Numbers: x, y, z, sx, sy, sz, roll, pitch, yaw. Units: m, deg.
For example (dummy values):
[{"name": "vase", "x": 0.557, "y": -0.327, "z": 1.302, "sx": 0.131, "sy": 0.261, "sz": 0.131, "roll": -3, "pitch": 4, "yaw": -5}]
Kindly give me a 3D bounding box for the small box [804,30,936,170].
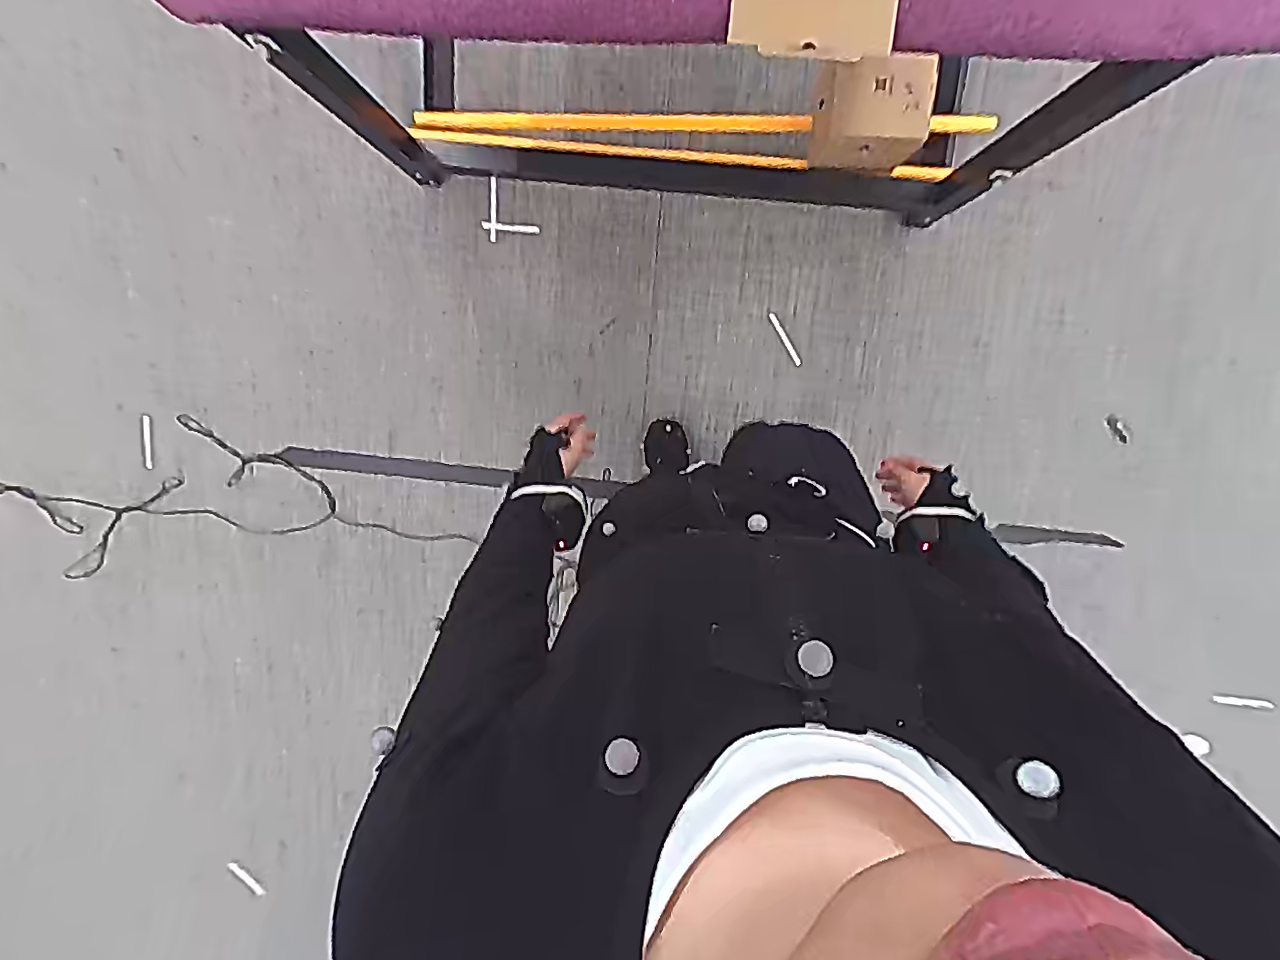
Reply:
[{"name": "small box", "x": 0.423, "y": -0.708, "z": 1.025, "sx": 0.179, "sy": 0.176, "sz": 0.168, "roll": 4, "pitch": 102, "yaw": 2}]
